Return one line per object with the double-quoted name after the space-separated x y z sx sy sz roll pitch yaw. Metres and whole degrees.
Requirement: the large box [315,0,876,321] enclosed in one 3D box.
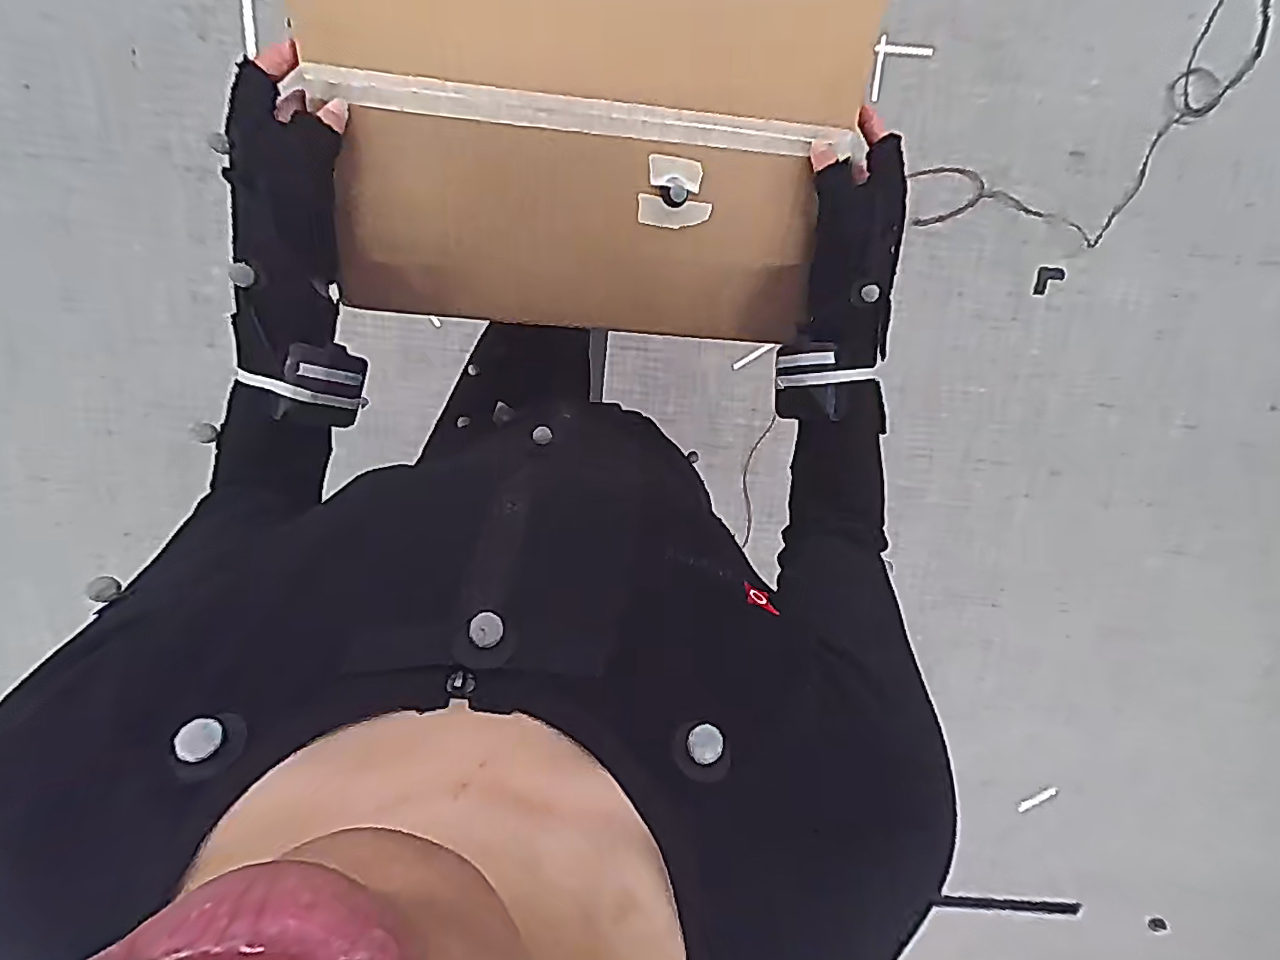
-0.044 -0.356 0.542 0.408 0.320 0.320 2 119 -7 "large box"
